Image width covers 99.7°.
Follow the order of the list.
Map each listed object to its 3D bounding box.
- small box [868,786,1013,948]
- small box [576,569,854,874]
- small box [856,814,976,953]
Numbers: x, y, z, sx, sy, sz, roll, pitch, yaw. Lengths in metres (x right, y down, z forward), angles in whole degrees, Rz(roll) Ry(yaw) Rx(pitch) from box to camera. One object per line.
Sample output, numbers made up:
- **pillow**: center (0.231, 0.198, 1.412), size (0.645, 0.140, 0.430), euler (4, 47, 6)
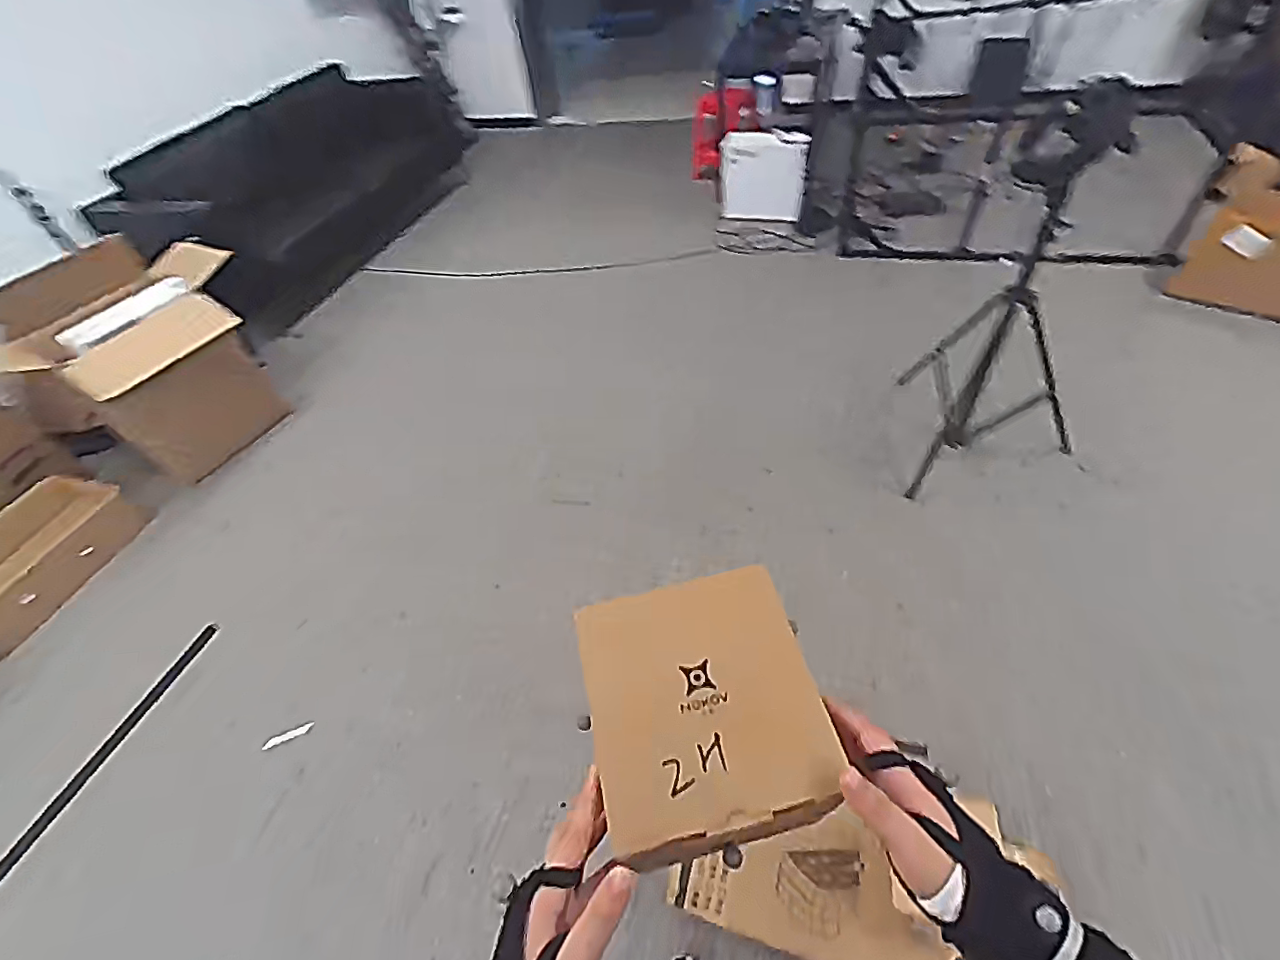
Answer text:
- **small box**: center (0.481, 0.641, 0.898), size (0.168, 0.176, 0.179), euler (5, 50, 14)
- **small box**: center (0.049, 0.206, 0.460), size (0.168, 0.176, 0.179), euler (-13, 52, -5)
- **small box**: center (0.508, 0.752, 1.016), size (0.168, 0.176, 0.179), euler (8, 51, 15)
